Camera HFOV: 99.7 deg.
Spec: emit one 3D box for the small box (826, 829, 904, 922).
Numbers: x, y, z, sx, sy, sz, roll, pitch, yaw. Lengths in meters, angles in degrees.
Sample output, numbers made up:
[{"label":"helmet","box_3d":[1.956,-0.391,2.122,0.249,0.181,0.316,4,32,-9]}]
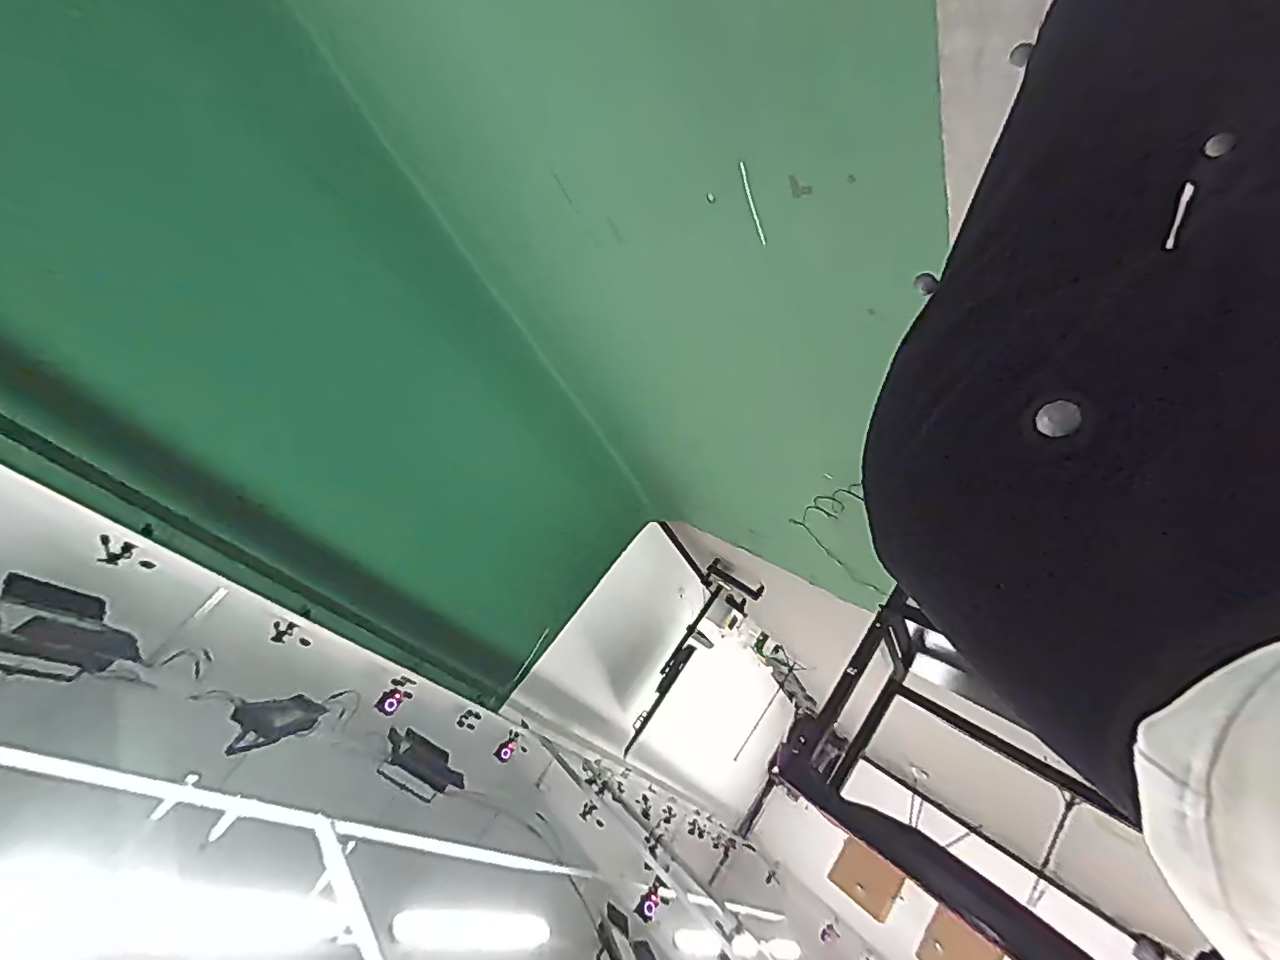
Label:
[{"label":"small box","box_3d":[0.732,1.272,1.742,0.179,0.176,0.168,24,156,42]}]
